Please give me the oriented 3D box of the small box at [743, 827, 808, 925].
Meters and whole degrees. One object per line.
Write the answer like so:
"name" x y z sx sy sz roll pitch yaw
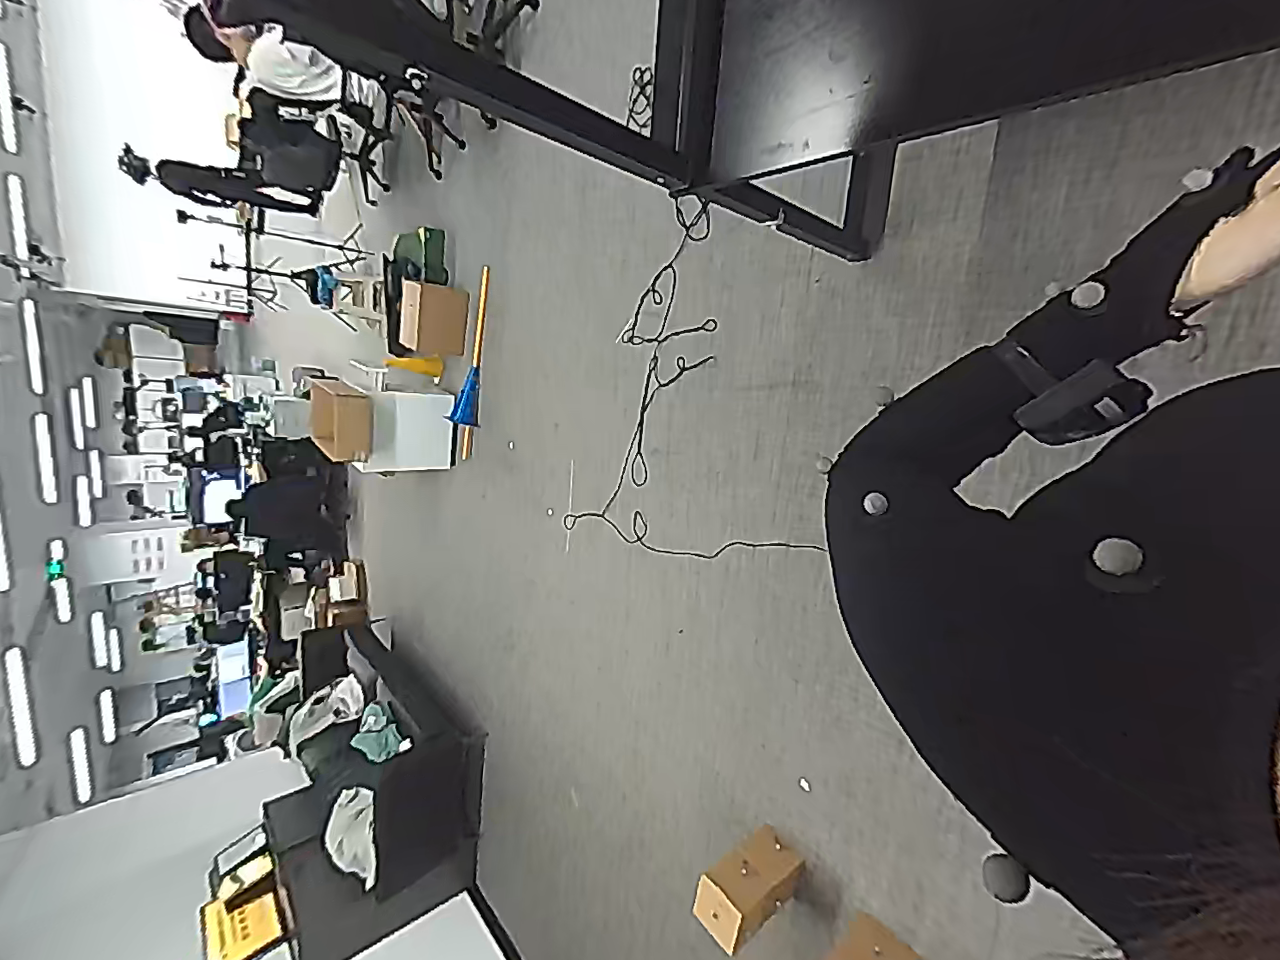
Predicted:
"small box" 0.448 1.340 1.841 0.168 0.176 0.179 25 111 44

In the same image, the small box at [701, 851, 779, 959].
"small box" 0.323 1.353 1.733 0.168 0.176 0.179 23 110 44
